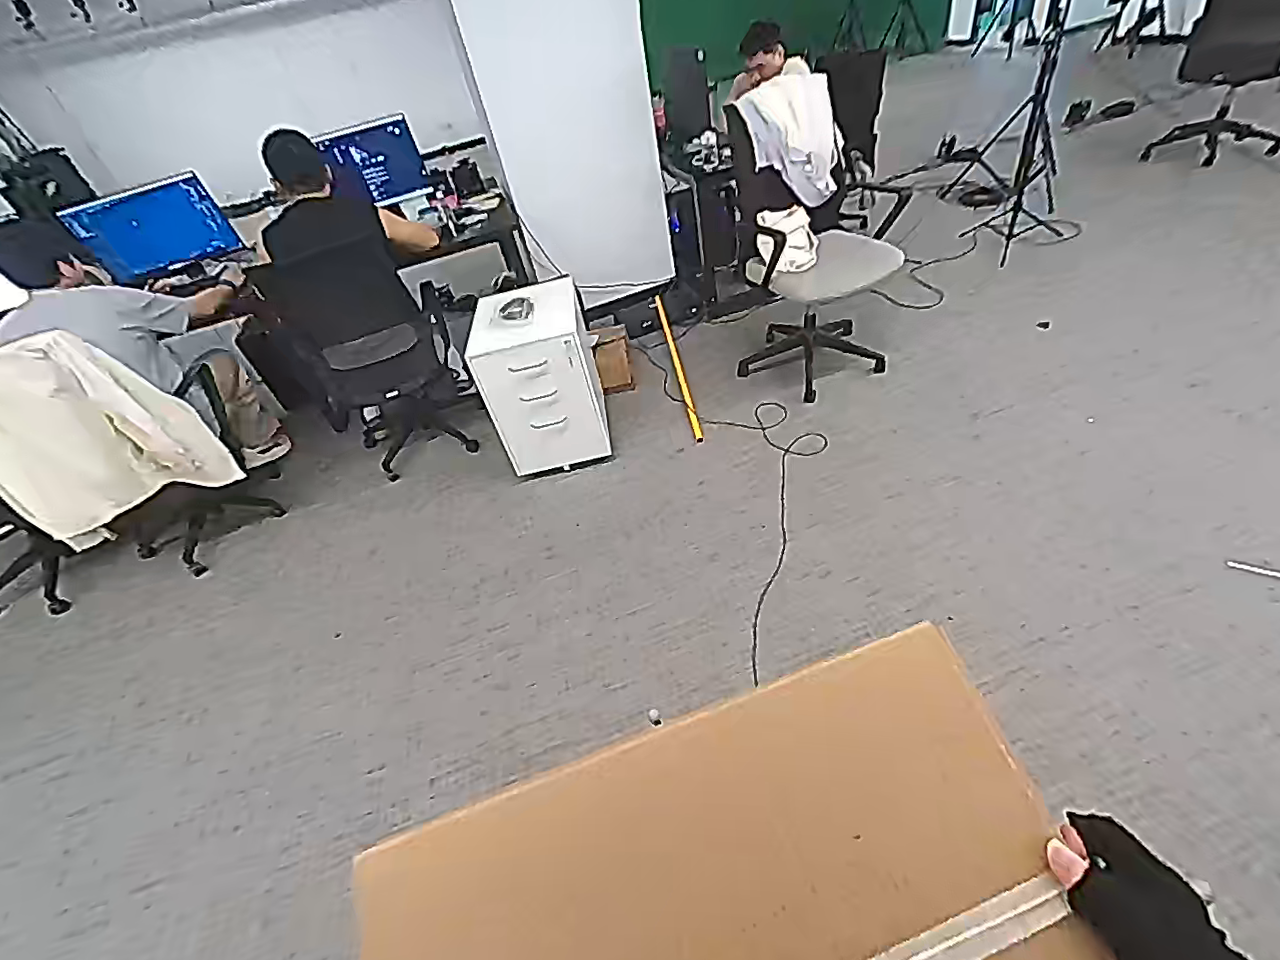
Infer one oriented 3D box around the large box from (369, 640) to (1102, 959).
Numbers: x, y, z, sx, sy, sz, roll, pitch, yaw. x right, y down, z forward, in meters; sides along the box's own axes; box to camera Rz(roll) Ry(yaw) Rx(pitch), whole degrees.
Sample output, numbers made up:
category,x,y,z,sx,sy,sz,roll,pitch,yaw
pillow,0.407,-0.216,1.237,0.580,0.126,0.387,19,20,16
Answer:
category,x,y,z,sx,sy,sz,roll,pitch,yaw
large box,0.074,0.366,0.441,0.408,0.320,0.320,-20,67,-7
